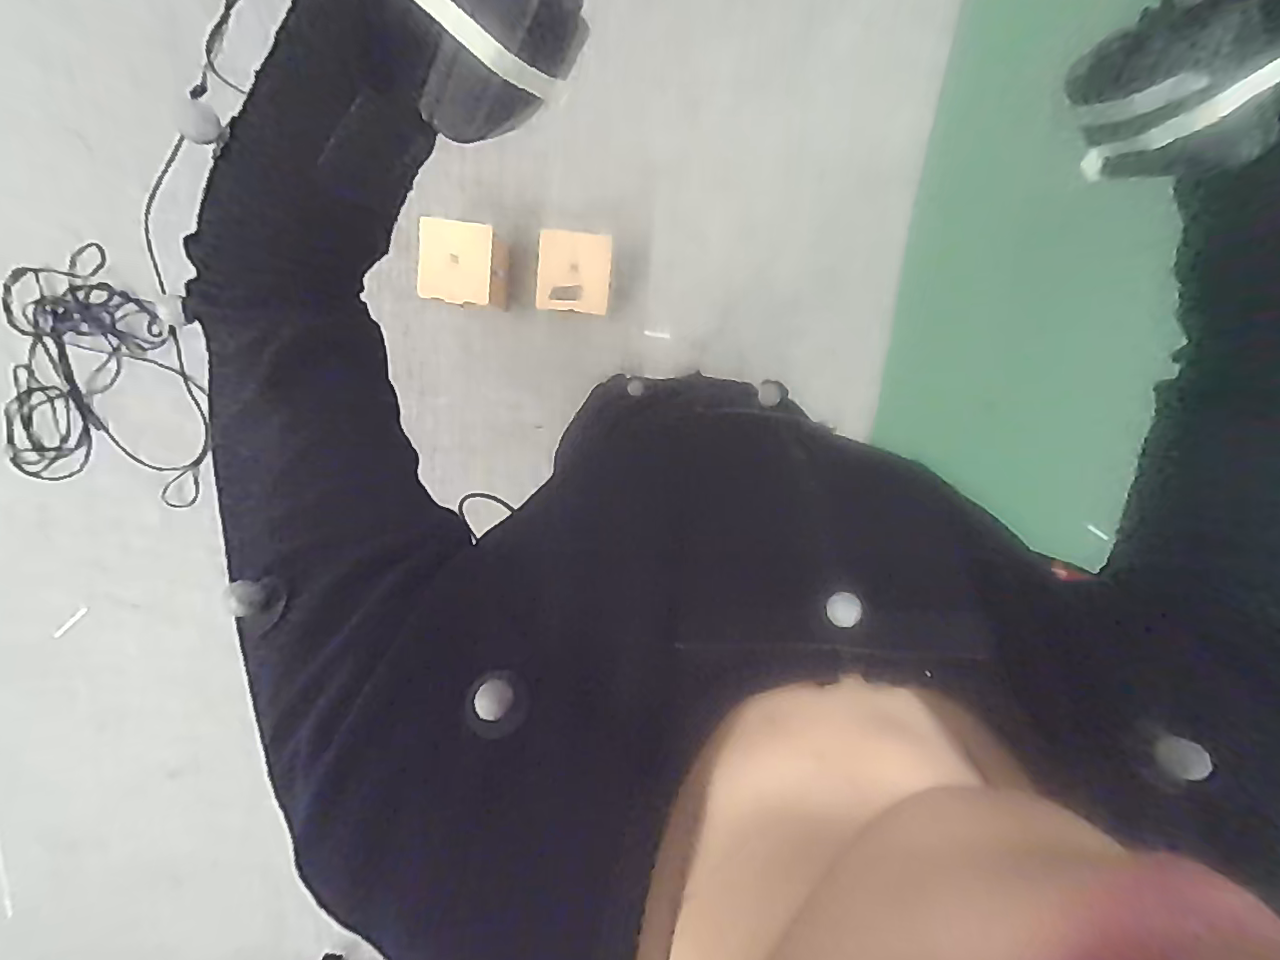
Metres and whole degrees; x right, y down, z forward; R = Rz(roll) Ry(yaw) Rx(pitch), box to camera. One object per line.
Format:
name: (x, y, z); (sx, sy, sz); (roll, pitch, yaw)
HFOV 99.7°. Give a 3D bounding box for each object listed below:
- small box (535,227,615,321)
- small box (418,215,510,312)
small box: (-0.151, -0.486, 1.302); (0.168, 0.176, 0.179); (6, 100, -1)
small box: (-0.416, -0.511, 1.300); (0.168, 0.176, 0.179); (7, 101, -1)
